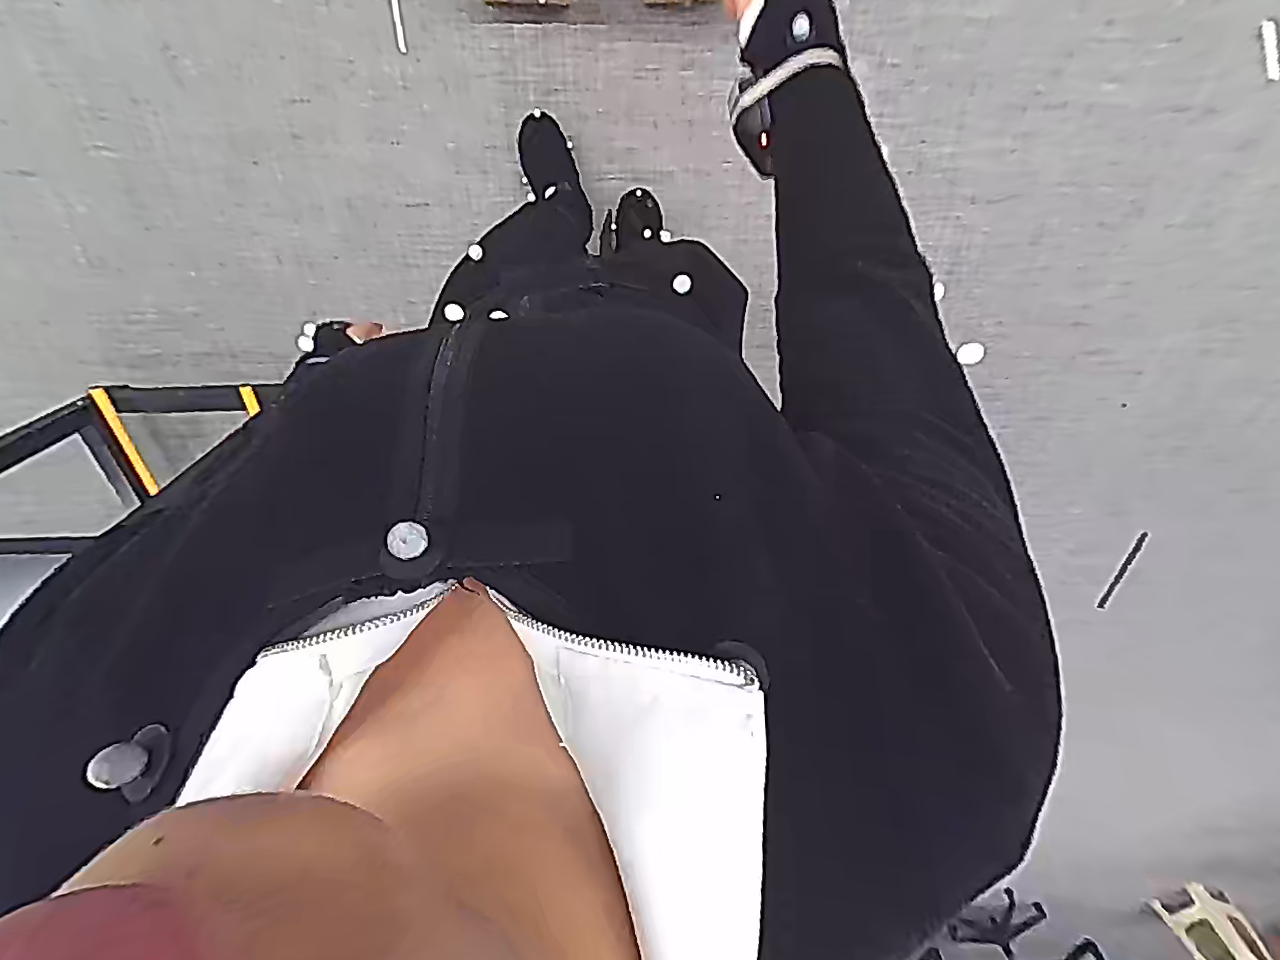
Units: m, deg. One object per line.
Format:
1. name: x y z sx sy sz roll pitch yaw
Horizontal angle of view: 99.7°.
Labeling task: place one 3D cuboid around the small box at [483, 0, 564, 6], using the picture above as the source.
1. small box: -0.217 -0.949 0.938 0.179 0.176 0.168 0 122 -3

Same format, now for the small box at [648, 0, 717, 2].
1. small box: 0.080 -0.963 0.947 0.168 0.176 0.179 -3 124 -1
